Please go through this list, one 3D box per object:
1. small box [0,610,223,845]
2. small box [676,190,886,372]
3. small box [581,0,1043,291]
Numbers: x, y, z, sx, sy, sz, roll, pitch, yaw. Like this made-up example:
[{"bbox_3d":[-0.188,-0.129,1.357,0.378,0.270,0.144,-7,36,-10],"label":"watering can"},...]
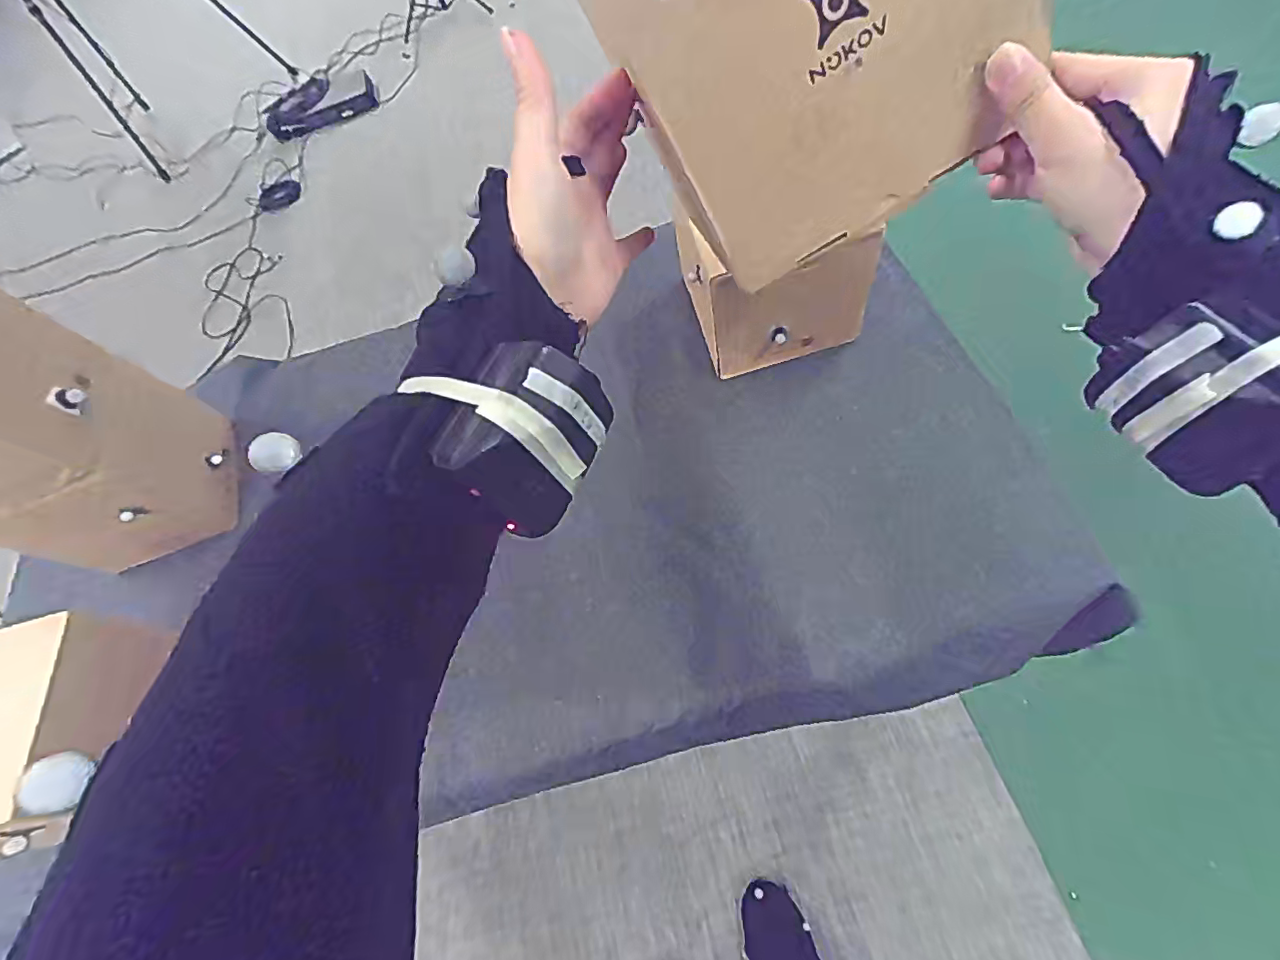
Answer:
[{"bbox_3d":[-0.549,0.239,0.515,0.179,0.176,0.168,-16,61,4],"label":"small box"},{"bbox_3d":[0.140,-0.251,0.598,0.168,0.176,0.179,-16,66,4],"label":"small box"},{"bbox_3d":[0.074,-0.245,0.290,0.168,0.179,0.176,-29,39,15],"label":"small box"}]
